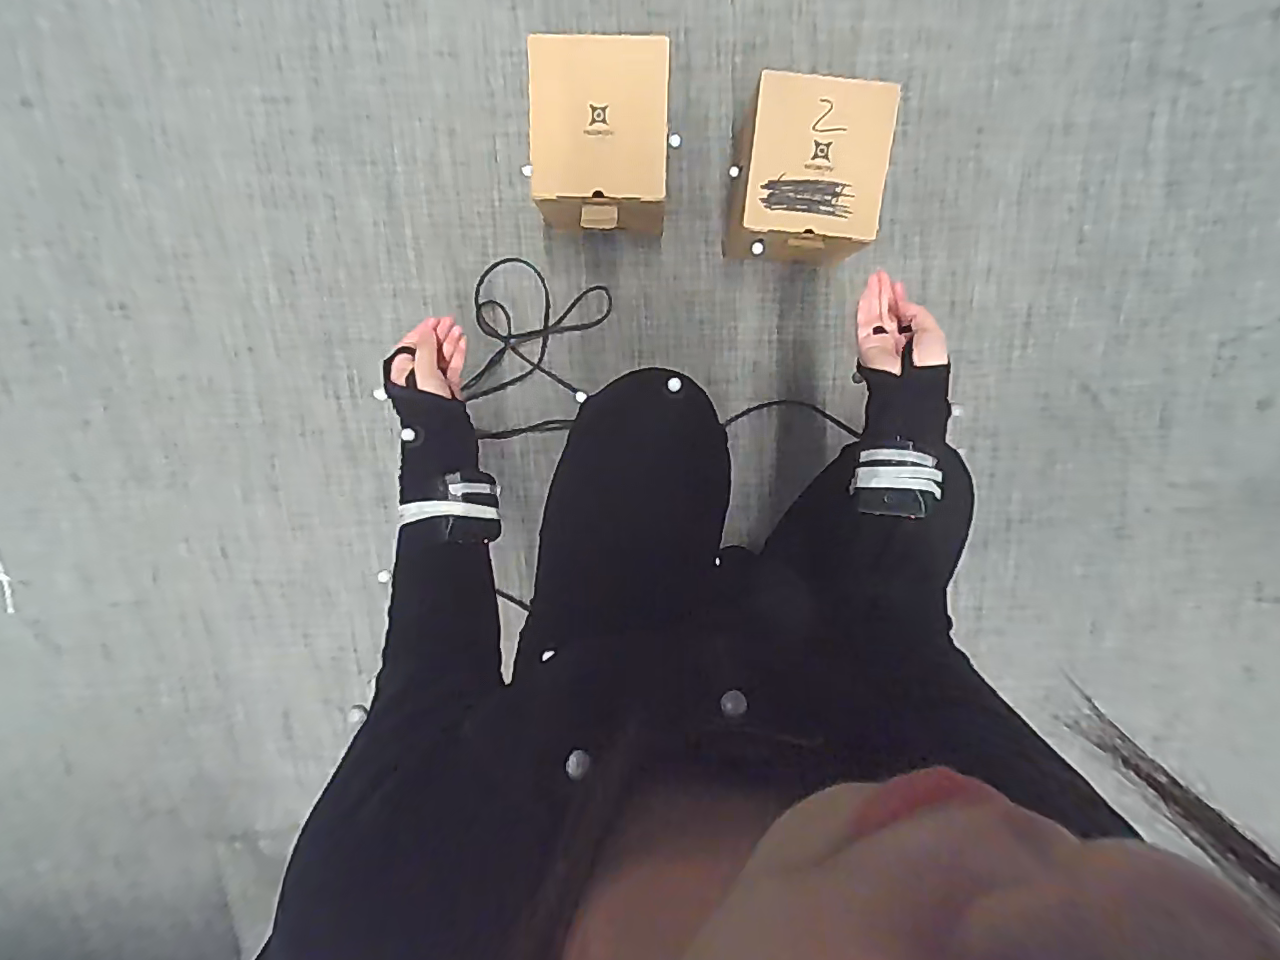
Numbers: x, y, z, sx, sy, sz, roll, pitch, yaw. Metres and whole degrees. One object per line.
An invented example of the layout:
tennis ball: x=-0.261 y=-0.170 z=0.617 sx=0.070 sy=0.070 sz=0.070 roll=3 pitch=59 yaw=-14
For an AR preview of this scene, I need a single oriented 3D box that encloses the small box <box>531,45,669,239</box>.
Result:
small box: x=-0.050 y=-0.437 z=0.725 sx=0.168 sy=0.176 sz=0.179 roll=1 pitch=103 yaw=1
